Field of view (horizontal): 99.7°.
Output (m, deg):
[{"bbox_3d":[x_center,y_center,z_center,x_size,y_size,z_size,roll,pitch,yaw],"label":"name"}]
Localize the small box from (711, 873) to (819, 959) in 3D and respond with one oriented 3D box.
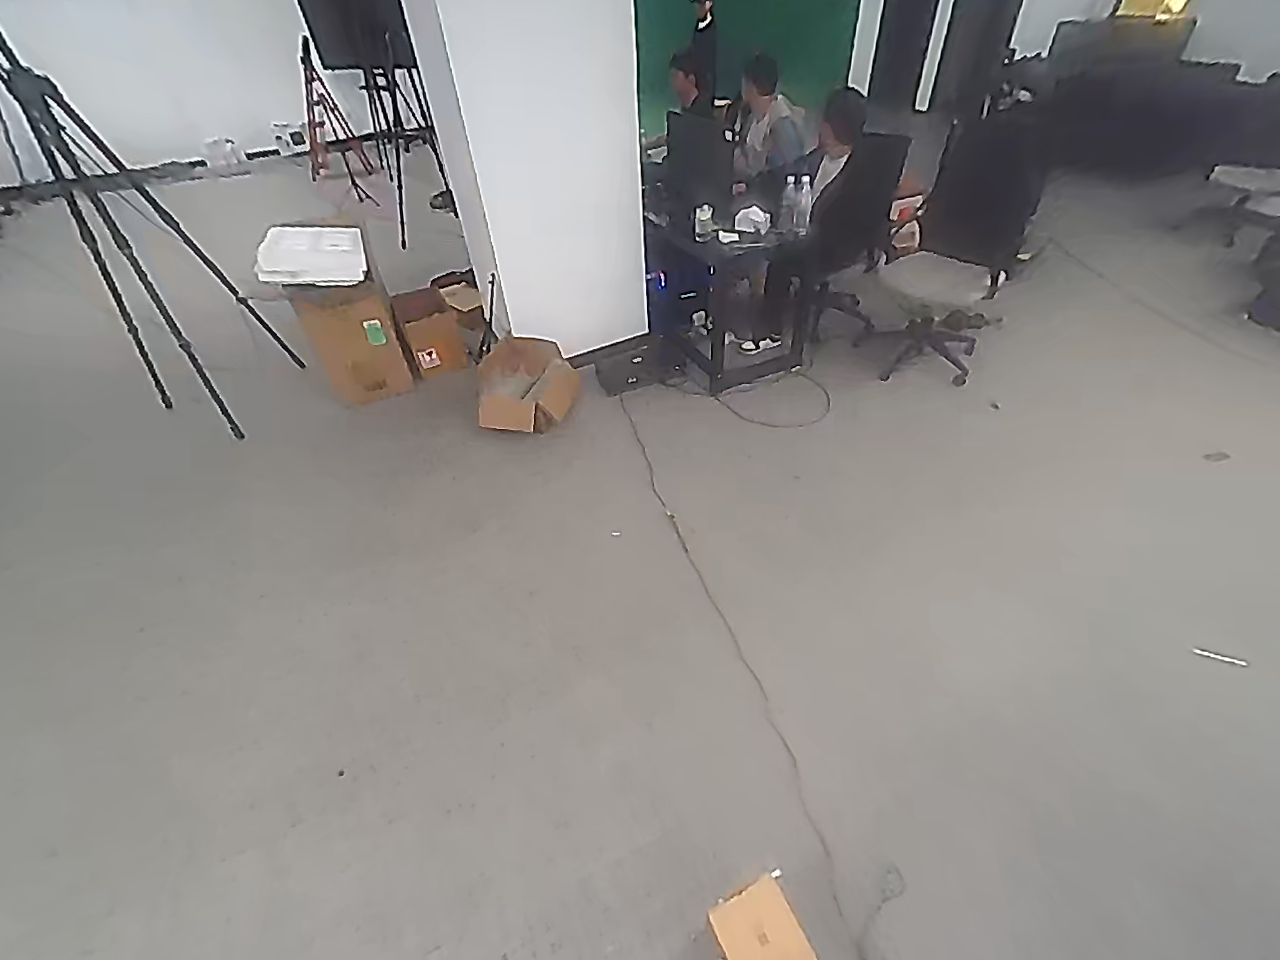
[{"bbox_3d":[0.263,1.012,1.180,0.168,0.176,0.179,-21,45,-15],"label":"small box"}]
